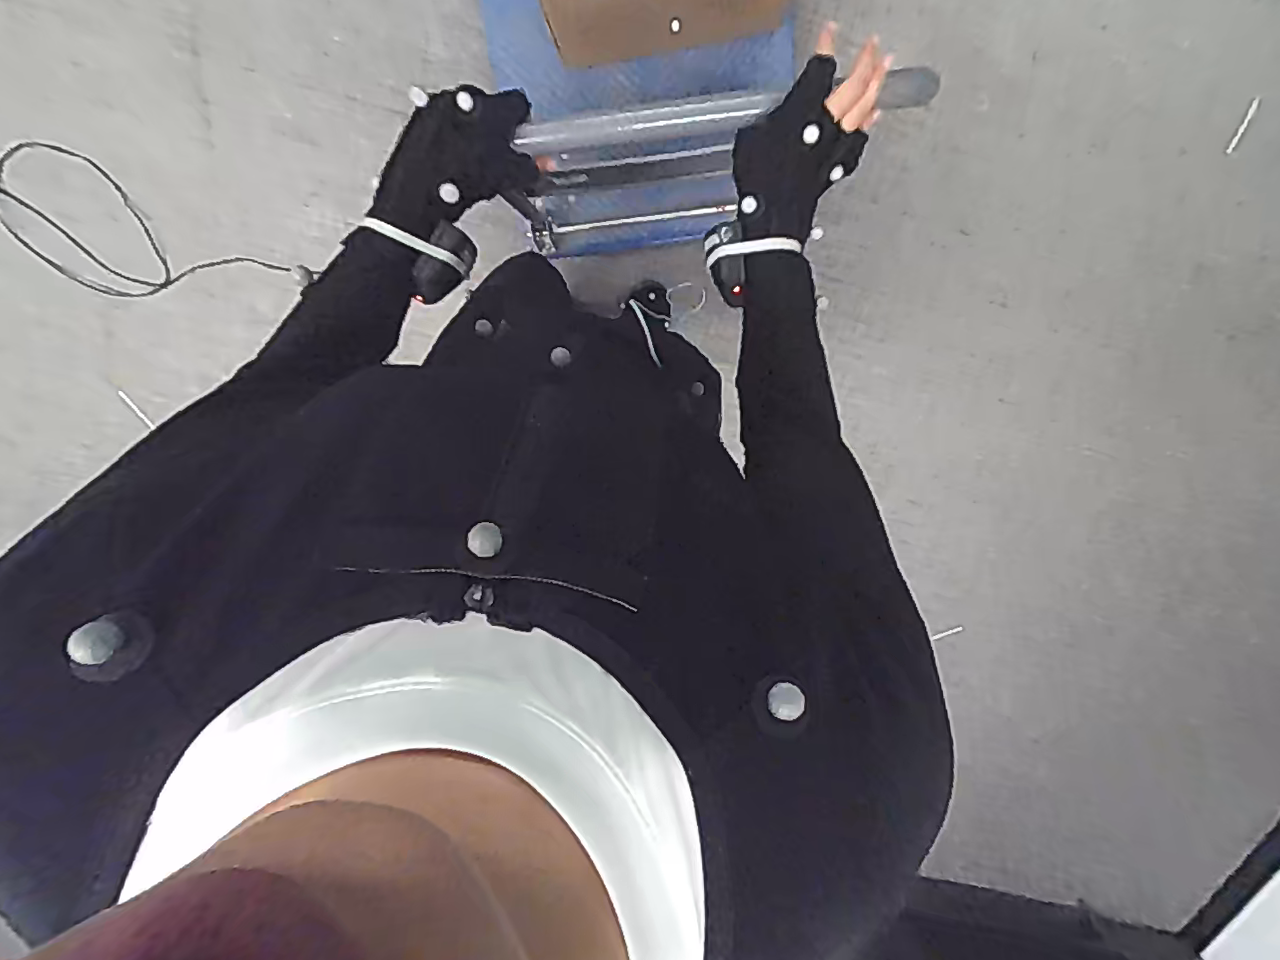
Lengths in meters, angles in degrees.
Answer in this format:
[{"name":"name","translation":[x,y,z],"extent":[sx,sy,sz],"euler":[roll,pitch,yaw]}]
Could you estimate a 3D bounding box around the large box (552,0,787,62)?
[{"name":"large box","translation":[0.042,-0.924,0.842],"extent":[0.408,0.320,0.320],"euler":[-9,110,6]}]
